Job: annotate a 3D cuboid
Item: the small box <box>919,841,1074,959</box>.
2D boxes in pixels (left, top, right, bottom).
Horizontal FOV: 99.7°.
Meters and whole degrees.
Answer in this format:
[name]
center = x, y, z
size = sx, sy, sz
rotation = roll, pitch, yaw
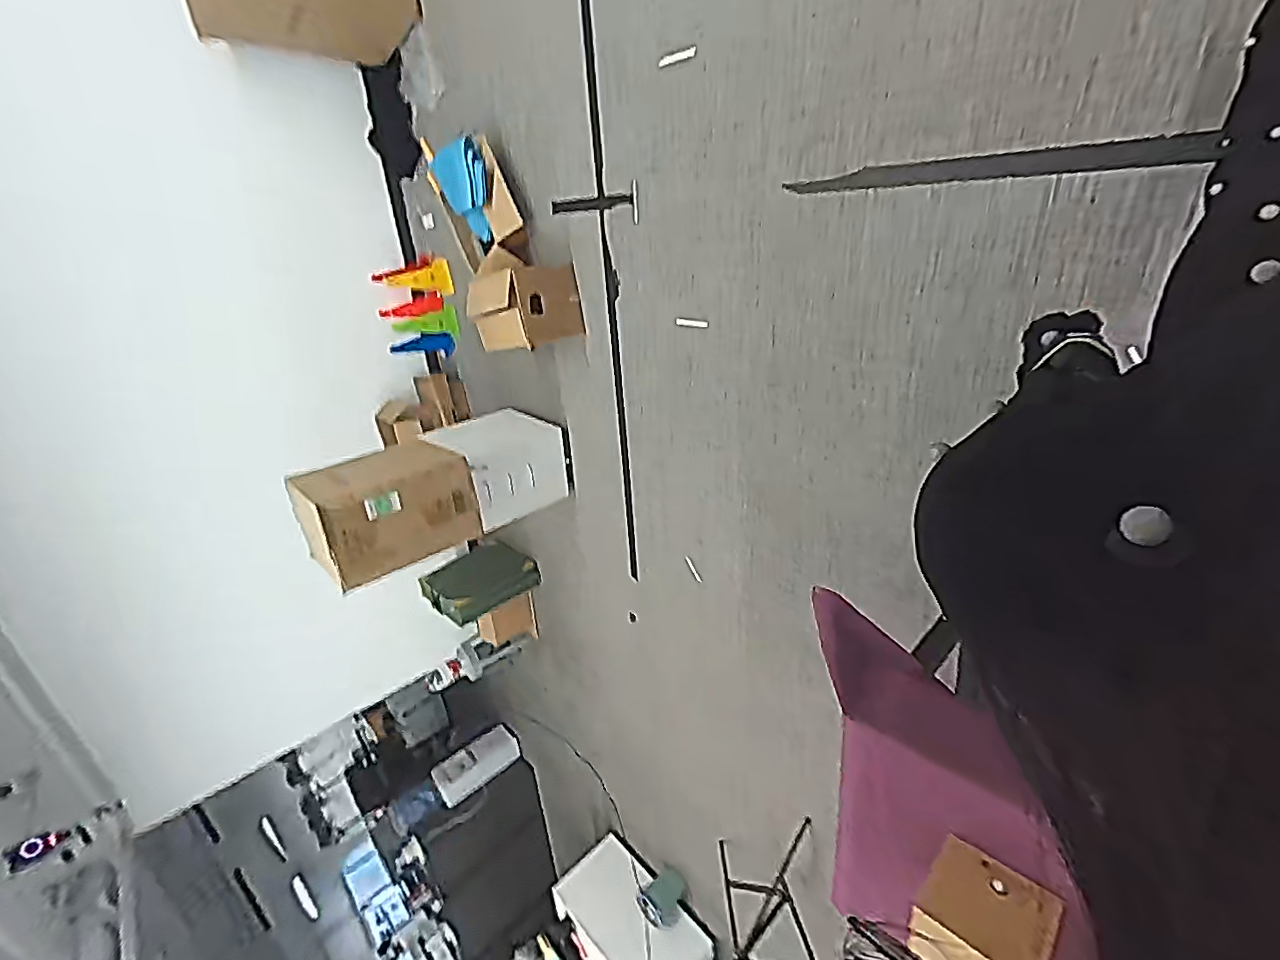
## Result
[small box]
center = 0.579, 0.753, 0.882
size = 0.168, 0.176, 0.179
rotation = 15, 120, 46
